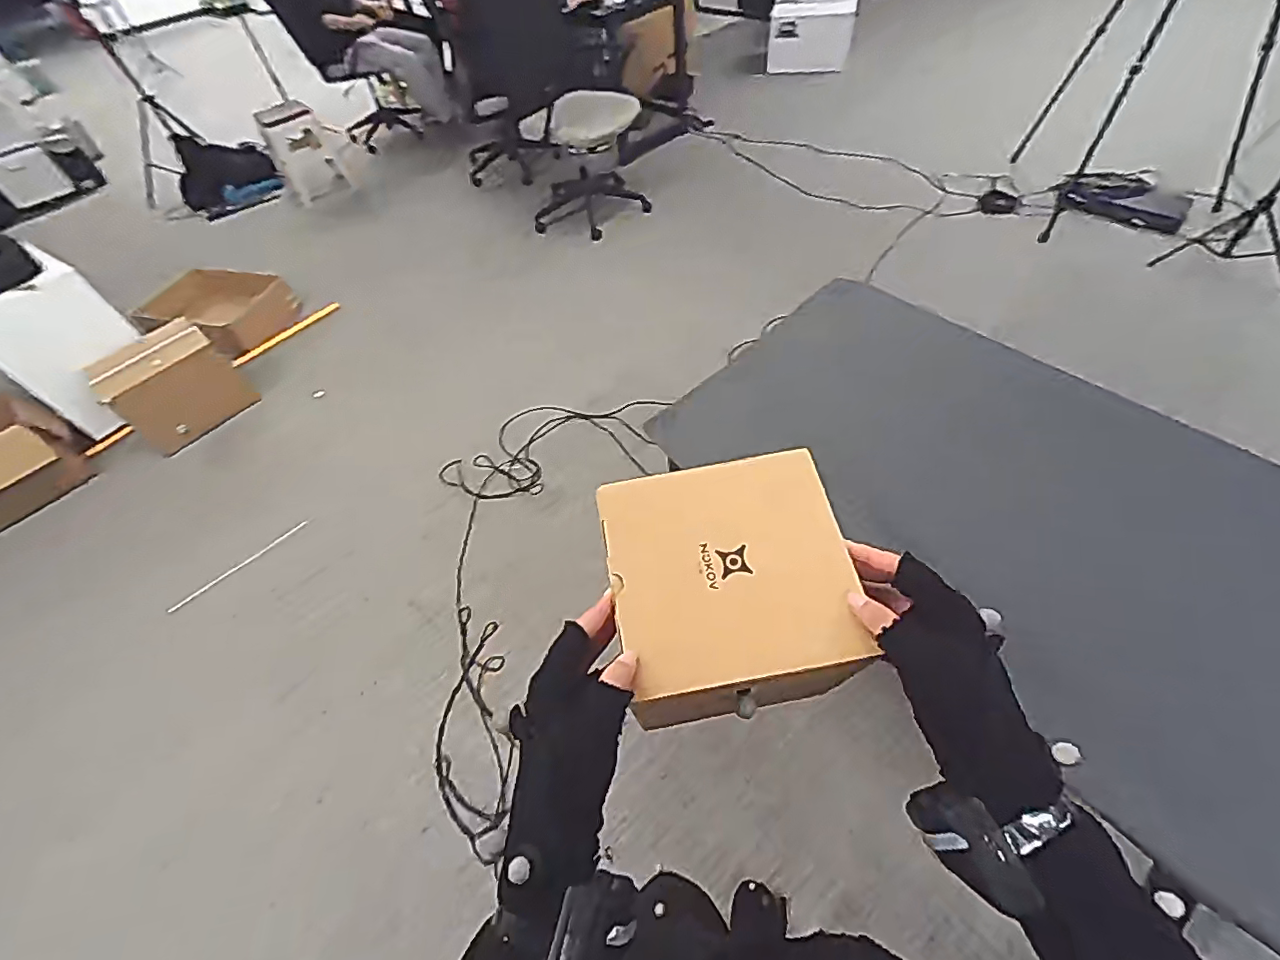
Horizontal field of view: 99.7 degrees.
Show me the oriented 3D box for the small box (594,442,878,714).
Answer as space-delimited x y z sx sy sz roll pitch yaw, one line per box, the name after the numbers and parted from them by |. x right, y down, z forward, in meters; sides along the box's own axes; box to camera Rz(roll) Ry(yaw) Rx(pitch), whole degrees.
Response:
0.066 0.092 0.460 0.179 0.176 0.168 -11 60 0 | small box
